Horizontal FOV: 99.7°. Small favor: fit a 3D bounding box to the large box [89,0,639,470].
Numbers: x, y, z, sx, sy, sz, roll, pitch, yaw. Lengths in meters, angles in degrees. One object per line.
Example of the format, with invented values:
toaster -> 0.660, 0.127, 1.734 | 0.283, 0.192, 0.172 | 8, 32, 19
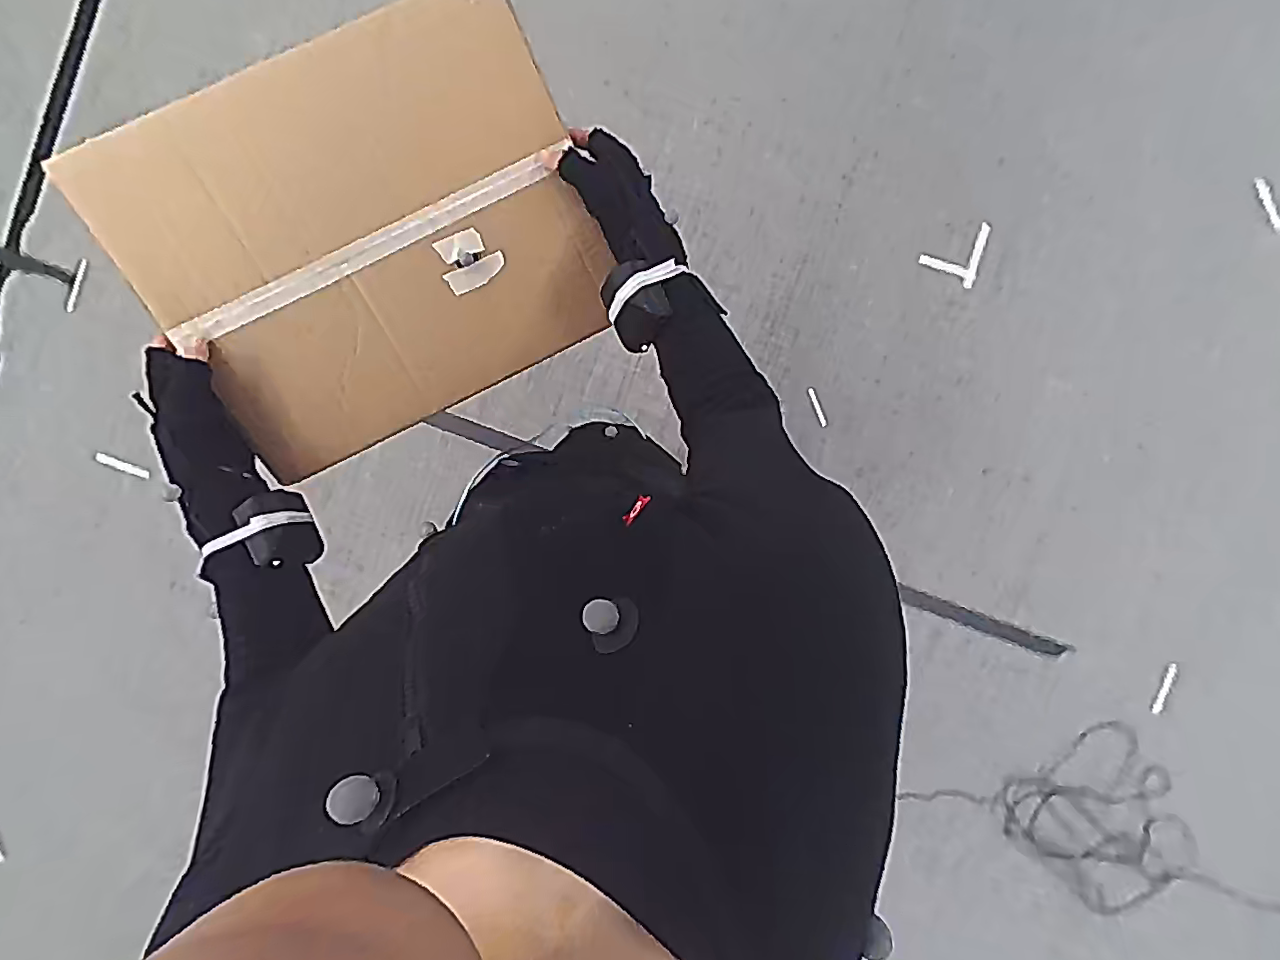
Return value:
large box -> -0.265, -0.264, 0.656 | 0.408, 0.320, 0.320 | -26, 110, -3
